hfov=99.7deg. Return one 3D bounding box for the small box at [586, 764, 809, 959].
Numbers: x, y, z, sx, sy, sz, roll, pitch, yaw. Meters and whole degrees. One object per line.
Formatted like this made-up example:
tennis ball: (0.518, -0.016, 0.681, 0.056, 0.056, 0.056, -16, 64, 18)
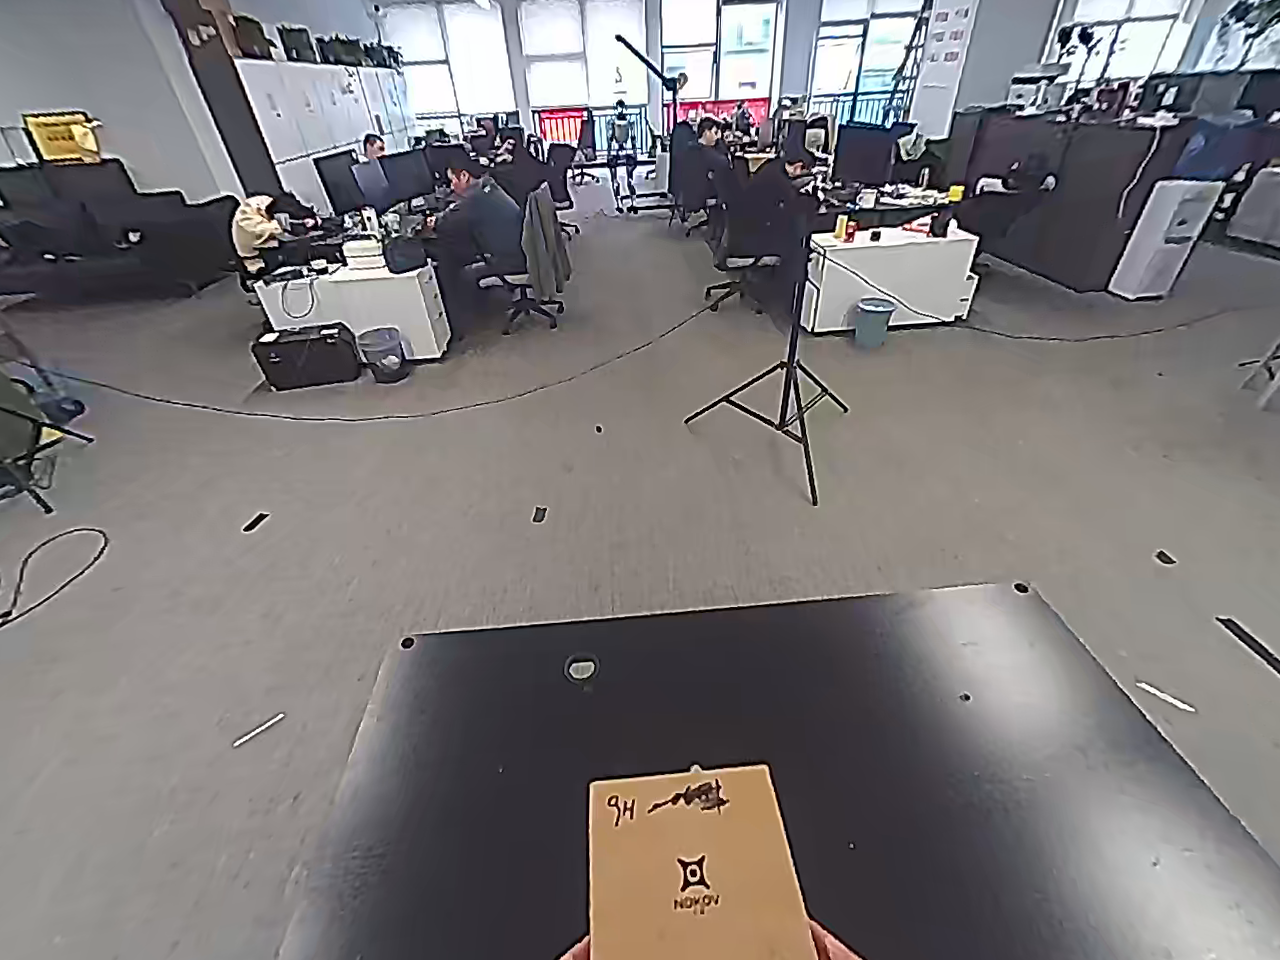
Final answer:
small box: (0.043, 0.385, 0.480, 0.168, 0.176, 0.179, -5, 38, -2)
